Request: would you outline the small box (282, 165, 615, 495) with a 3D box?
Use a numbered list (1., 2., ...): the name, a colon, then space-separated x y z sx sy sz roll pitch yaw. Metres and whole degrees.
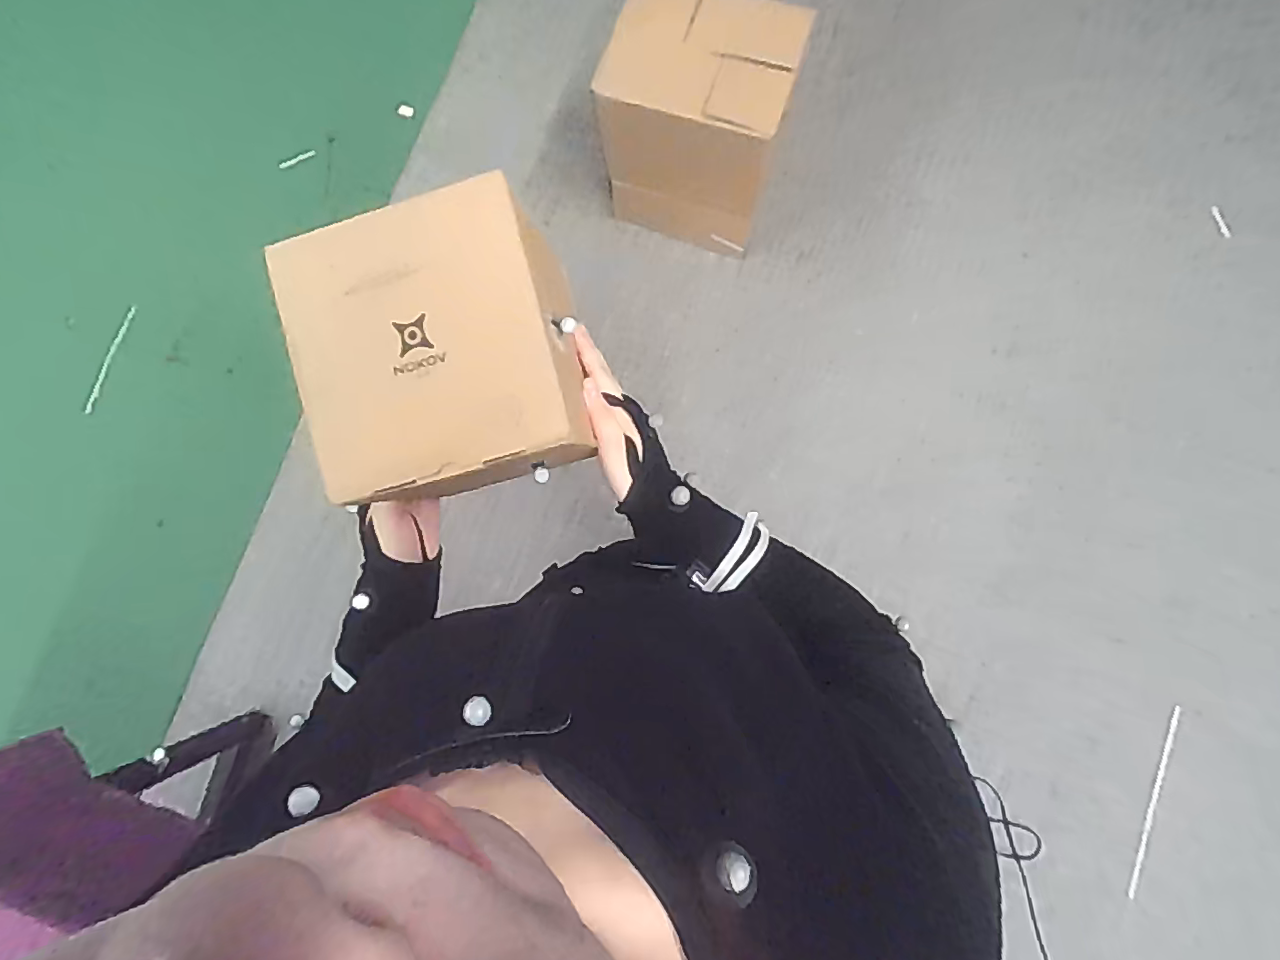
1. small box: -0.124 -0.094 0.419 0.168 0.176 0.179 -14 89 5
